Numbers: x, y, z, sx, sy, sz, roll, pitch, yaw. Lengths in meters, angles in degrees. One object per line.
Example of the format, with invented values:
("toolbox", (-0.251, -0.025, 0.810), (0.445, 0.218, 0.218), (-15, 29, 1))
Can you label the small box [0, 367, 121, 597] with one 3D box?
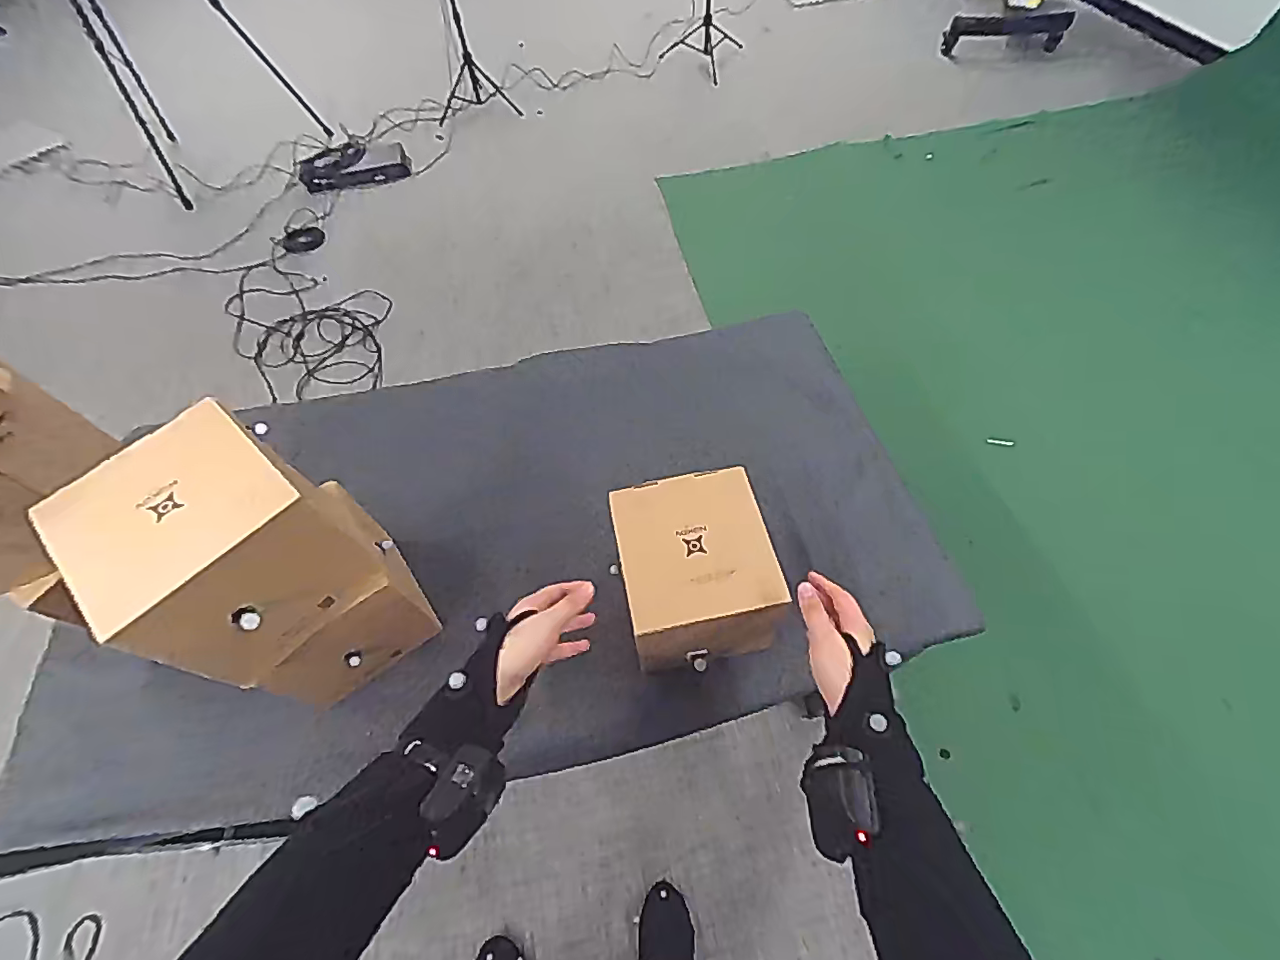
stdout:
("small box", (-0.706, 0.009, 0.575), (0.179, 0.176, 0.168), (-28, 62, -13))

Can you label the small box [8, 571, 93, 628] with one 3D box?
("small box", (-0.699, 0.092, 0.718), (0.179, 0.176, 0.168), (23, 62, 16))

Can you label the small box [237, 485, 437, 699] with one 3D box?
("small box", (-0.380, 0.146, 0.664), (0.168, 0.176, 0.179), (-34, 62, -17))

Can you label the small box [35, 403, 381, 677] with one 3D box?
("small box", (-0.393, 0.066, 0.523), (0.179, 0.176, 0.168), (36, 67, 23))

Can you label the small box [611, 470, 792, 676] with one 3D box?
("small box", (0.064, 0.116, 0.655), (0.168, 0.176, 0.179), (-12, 58, -3))
